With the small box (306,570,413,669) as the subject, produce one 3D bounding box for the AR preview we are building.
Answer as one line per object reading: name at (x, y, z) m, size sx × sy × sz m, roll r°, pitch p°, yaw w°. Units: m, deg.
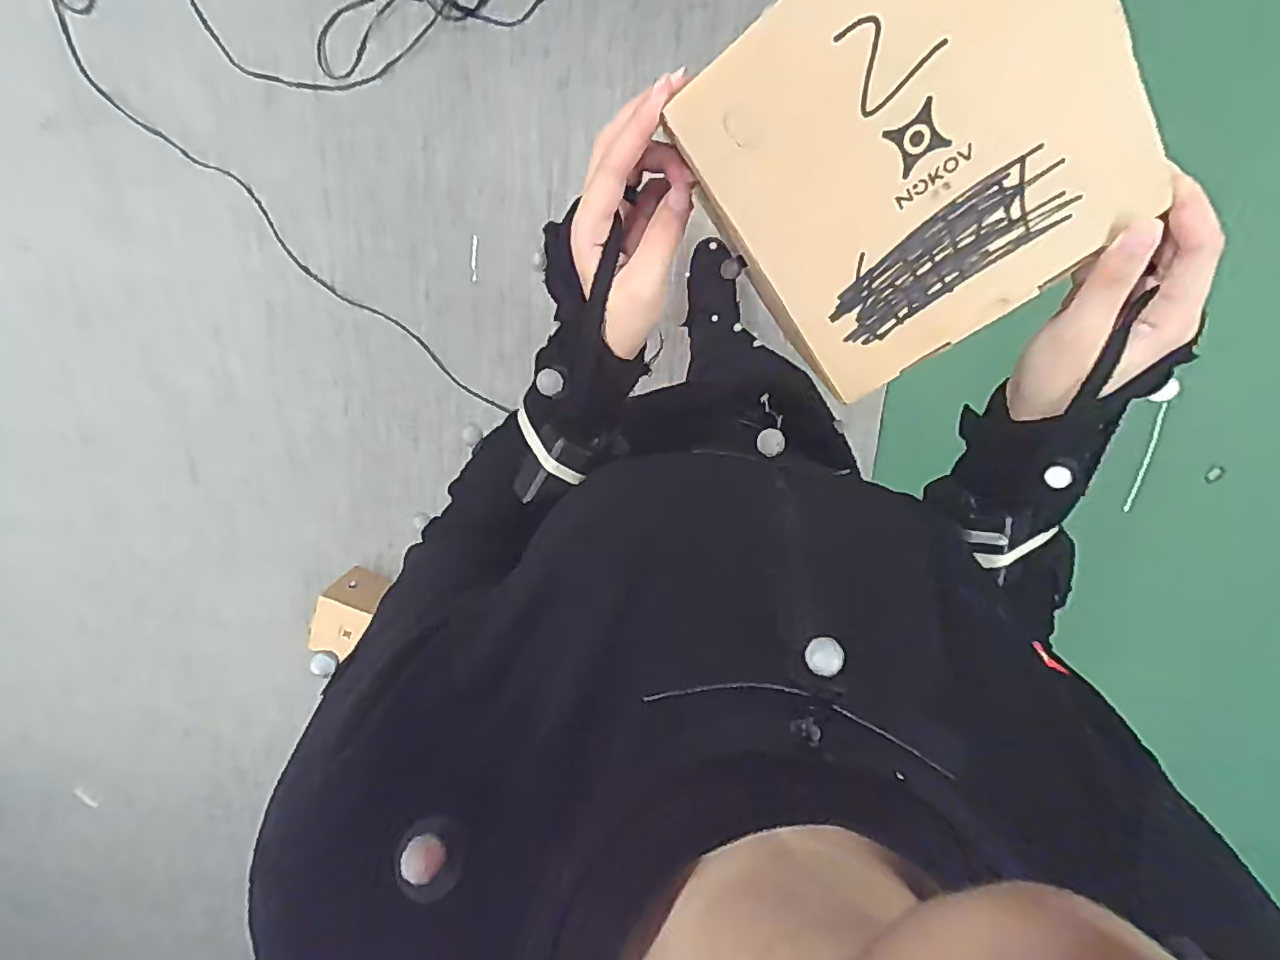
small box at (-0.731, 0.358, 1.422) m, size 0.179 × 0.176 × 0.168 m, roll 21°, pitch 106°, yaw -5°
